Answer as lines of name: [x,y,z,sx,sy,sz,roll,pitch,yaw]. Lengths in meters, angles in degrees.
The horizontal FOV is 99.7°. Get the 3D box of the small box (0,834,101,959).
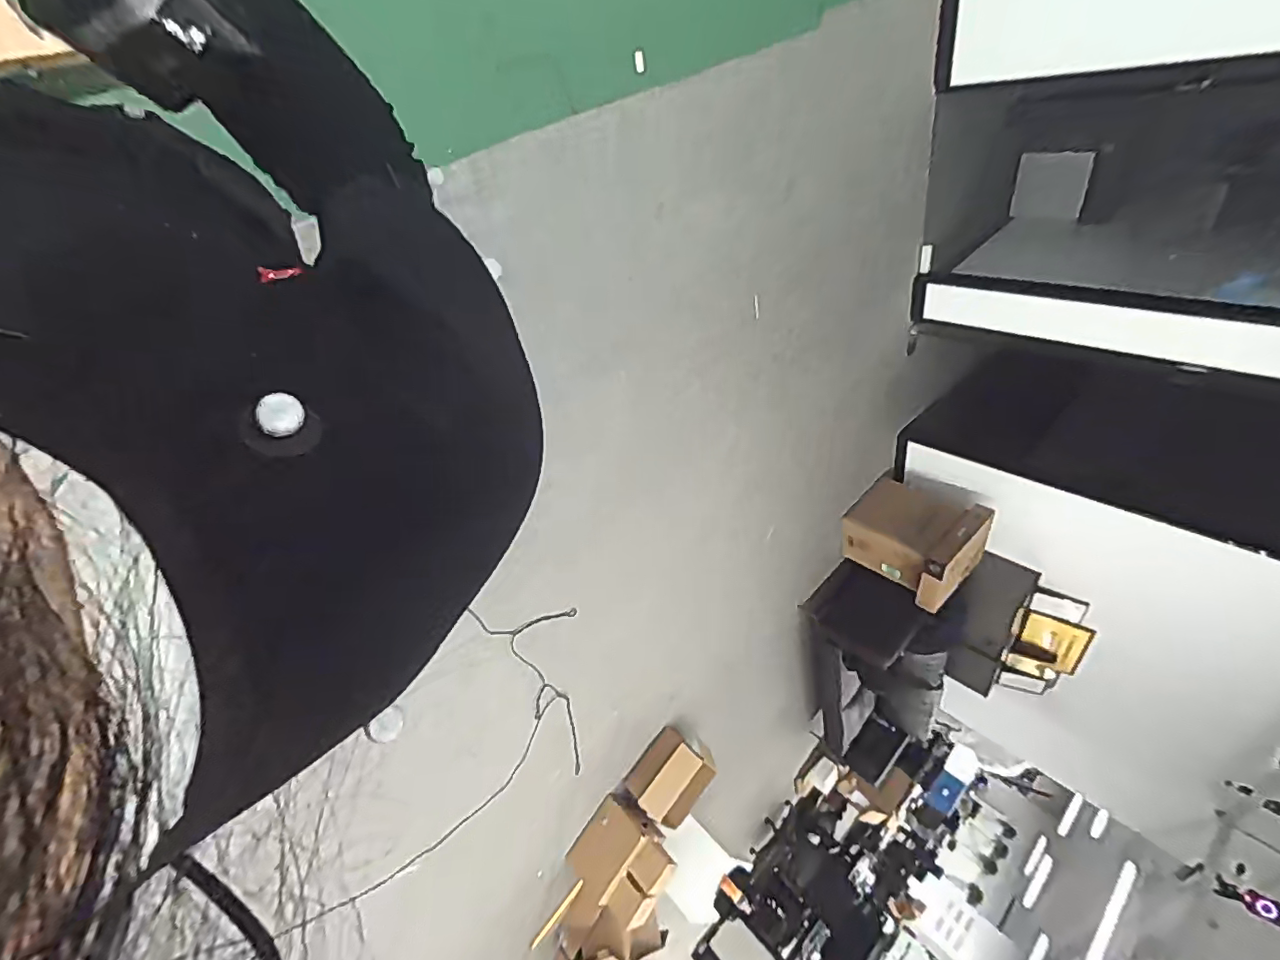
small box: [-1.427,0.975,1.261,0.179,0.176,0.168,-41,136,-20]
